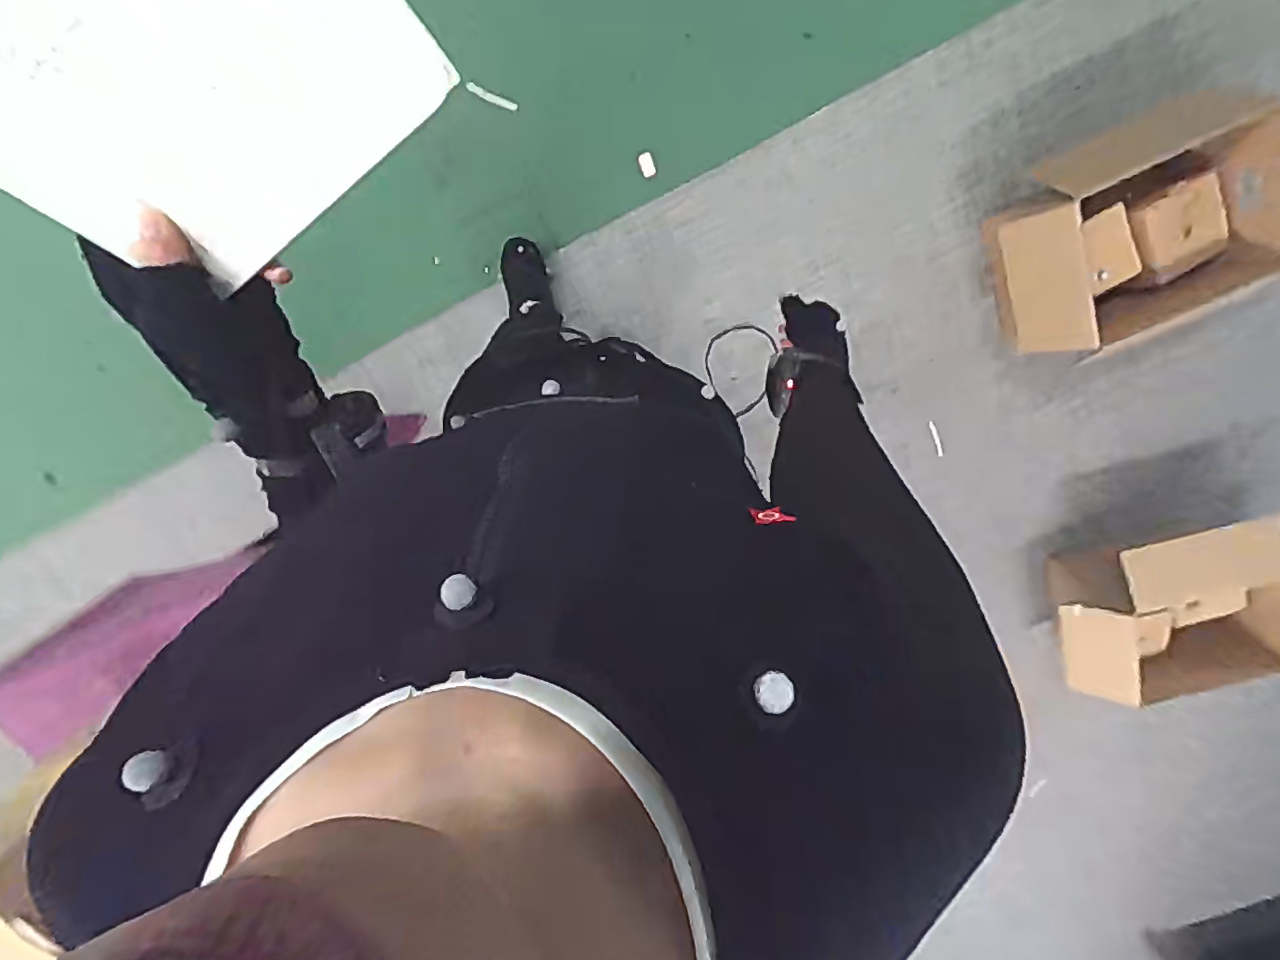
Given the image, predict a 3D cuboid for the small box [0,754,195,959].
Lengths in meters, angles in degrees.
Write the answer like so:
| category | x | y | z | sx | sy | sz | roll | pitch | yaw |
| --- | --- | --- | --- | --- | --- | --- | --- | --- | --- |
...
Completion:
| category | x | y | z | sx | sy | sz | roll | pitch | yaw |
| --- | --- | --- | --- | --- | --- | --- | --- | --- | --- |
| small box | -0.660 | 0.450 | 0.608 | 0.179 | 0.176 | 0.168 | -25 | 107 | 5 |
